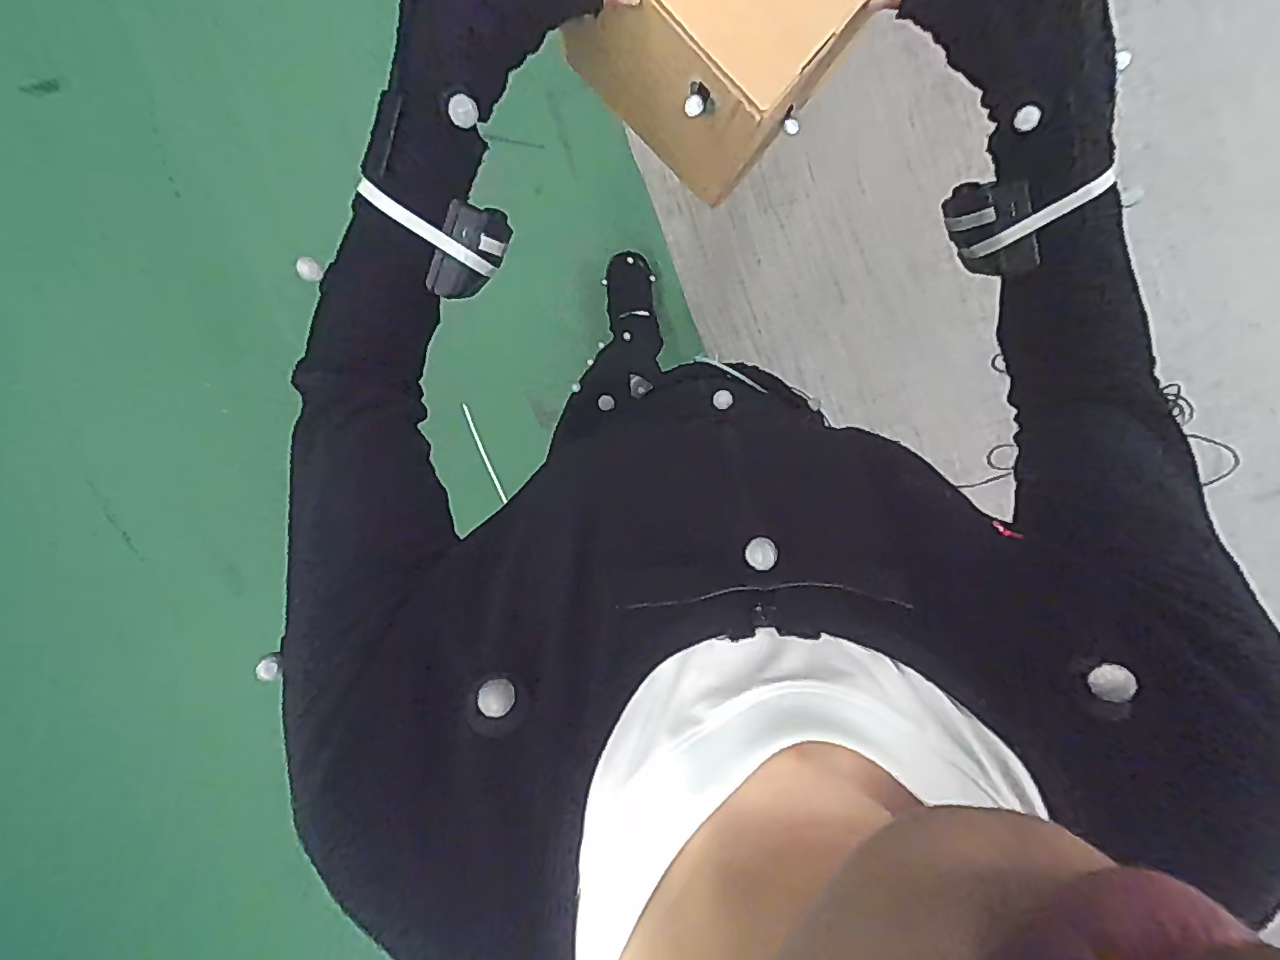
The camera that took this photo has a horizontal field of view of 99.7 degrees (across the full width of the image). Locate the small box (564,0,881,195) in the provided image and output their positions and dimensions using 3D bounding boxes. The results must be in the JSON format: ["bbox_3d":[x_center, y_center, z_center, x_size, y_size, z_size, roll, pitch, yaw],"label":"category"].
[{"bbox_3d":[0.056,-0.344,0.379,0.179,0.176,0.168,42,95,-9],"label":"small box"}]
